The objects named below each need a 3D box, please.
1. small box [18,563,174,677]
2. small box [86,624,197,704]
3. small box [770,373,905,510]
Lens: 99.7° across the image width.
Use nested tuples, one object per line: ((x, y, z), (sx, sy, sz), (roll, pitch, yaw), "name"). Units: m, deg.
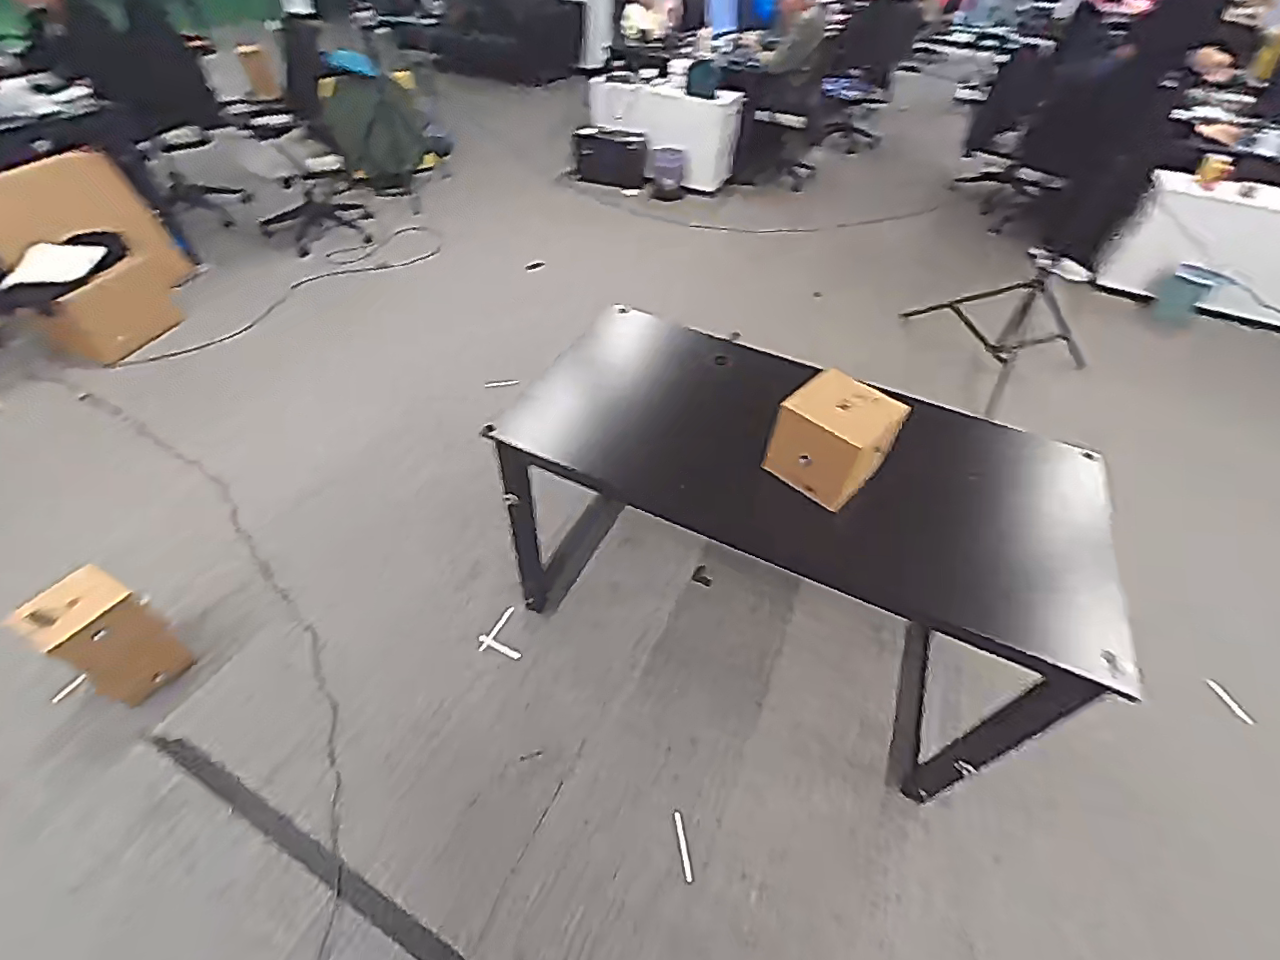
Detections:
((-1.301, 0.342, 1.308), (0.168, 0.176, 0.179), (24, 49, 16), "small box")
((-1.327, 0.452, 1.430), (0.168, 0.176, 0.179), (28, 50, 20), "small box")
((0.374, -0.073, 1.056), (0.168, 0.176, 0.179), (38, 54, 27), "small box")
